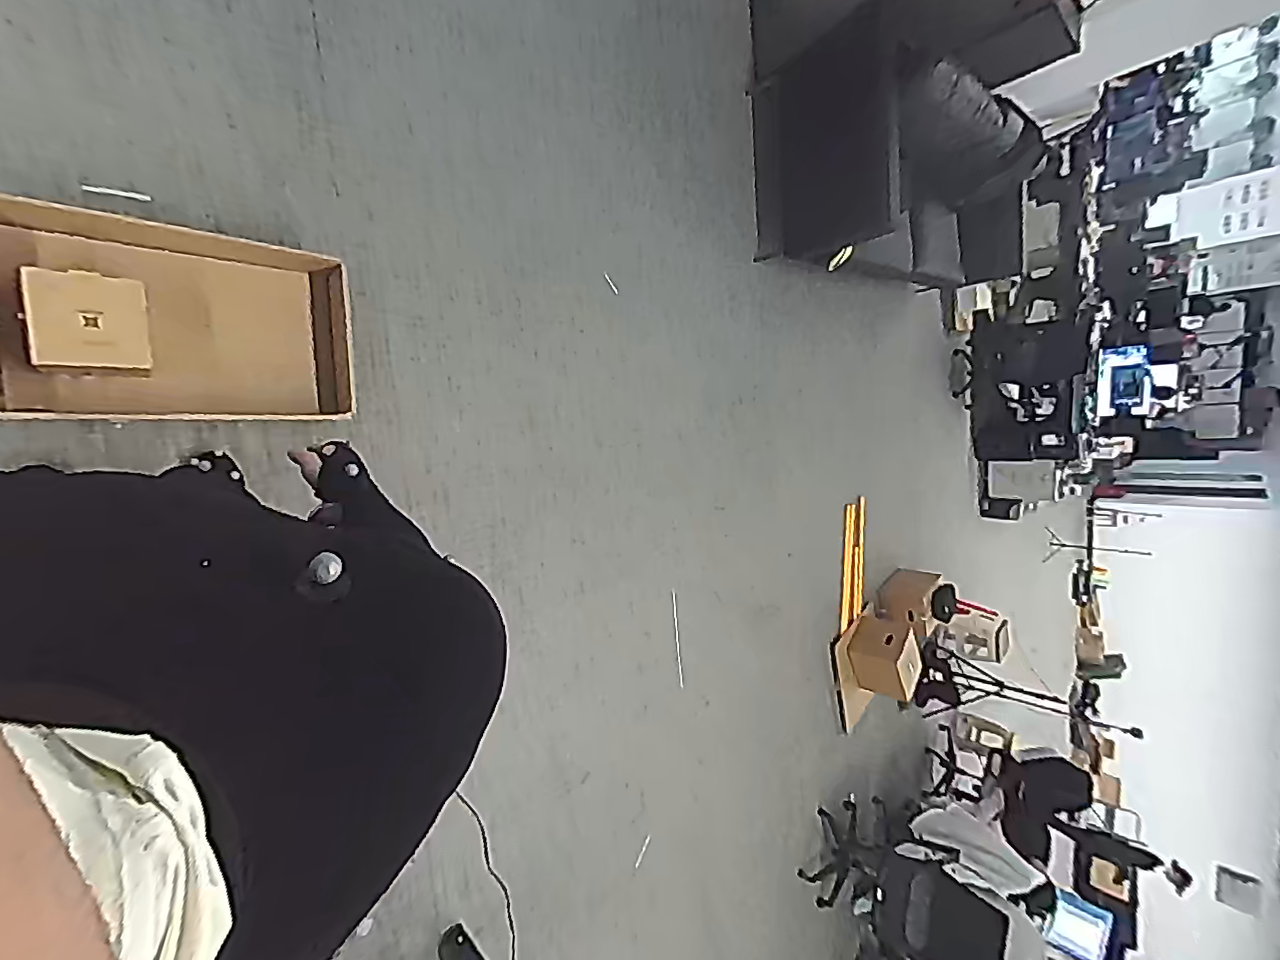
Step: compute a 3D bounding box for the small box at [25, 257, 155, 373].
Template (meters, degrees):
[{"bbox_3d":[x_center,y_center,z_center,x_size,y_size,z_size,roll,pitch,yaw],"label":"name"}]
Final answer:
[{"bbox_3d":[-1.078,-0.315,1.069,0.168,0.176,0.179,-6,96,-42],"label":"small box"}]
